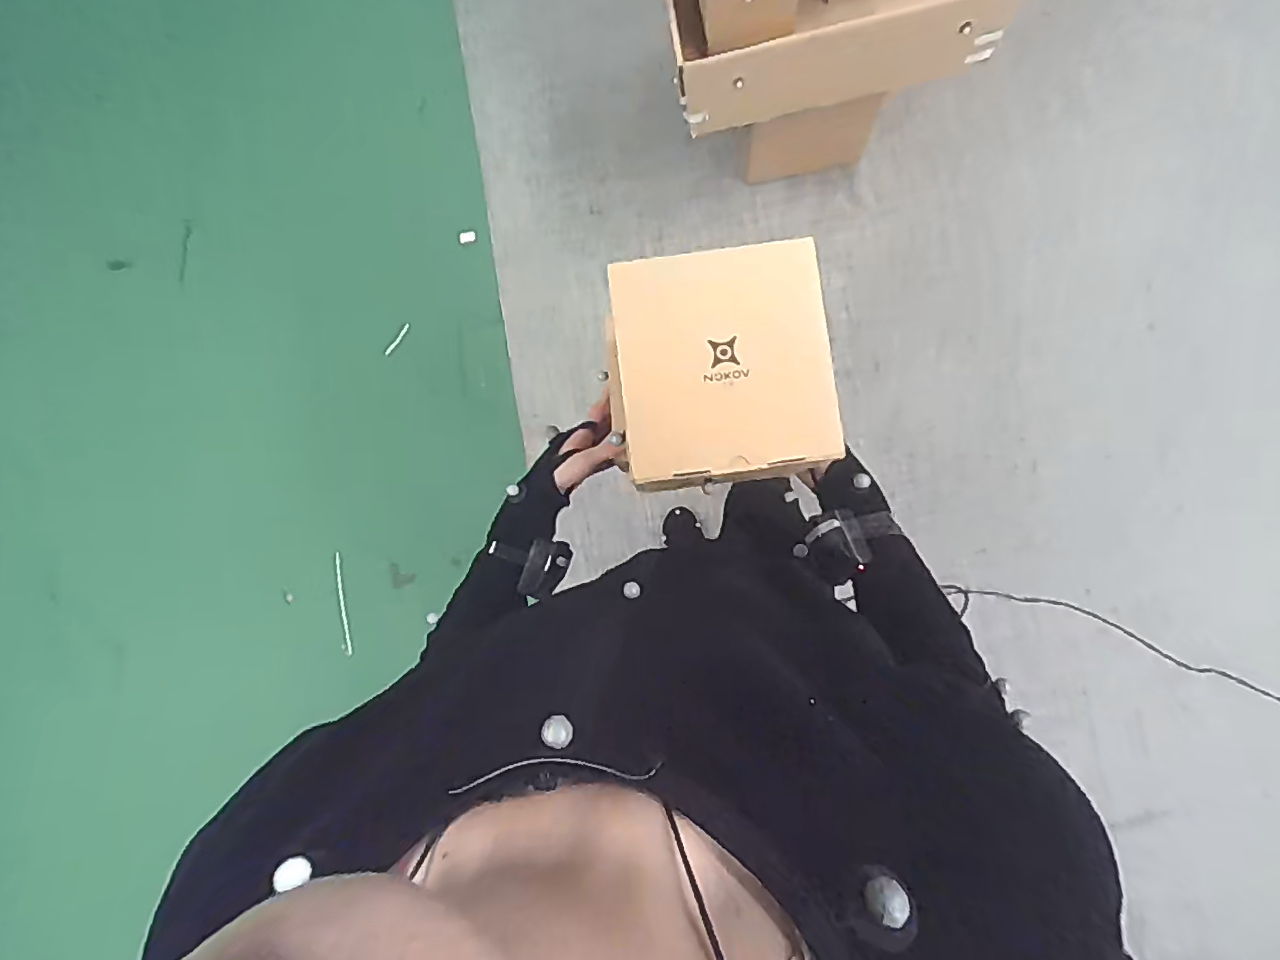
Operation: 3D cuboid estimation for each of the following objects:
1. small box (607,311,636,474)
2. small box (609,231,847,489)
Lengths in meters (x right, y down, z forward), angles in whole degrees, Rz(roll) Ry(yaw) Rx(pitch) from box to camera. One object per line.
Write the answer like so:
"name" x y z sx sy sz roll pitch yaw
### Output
"small box" 0.056 -0.099 0.652 0.179 0.176 0.168 -4 85 1
"small box" 0.065 -0.091 0.488 0.168 0.176 0.179 -7 86 1
